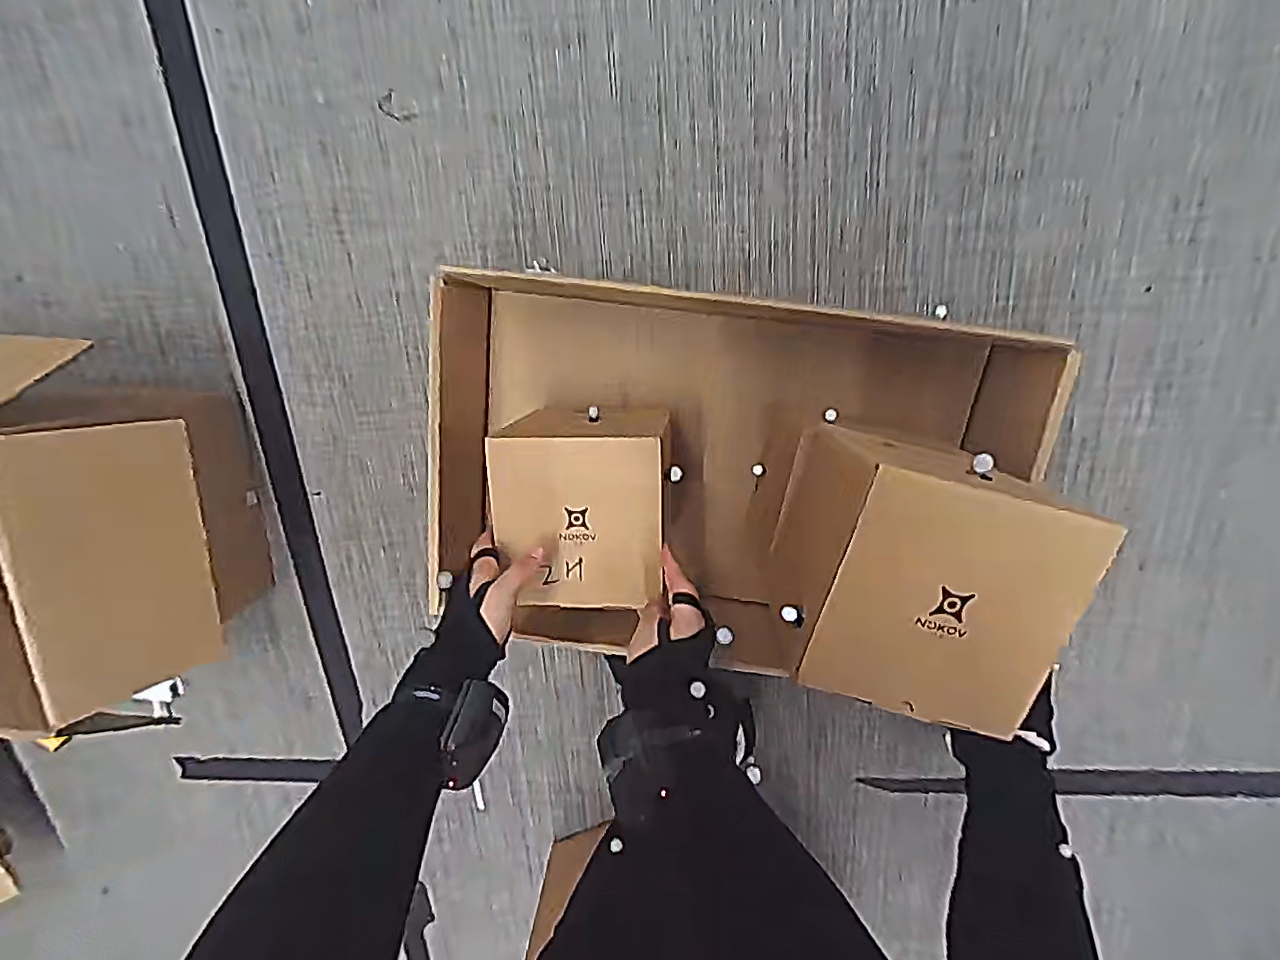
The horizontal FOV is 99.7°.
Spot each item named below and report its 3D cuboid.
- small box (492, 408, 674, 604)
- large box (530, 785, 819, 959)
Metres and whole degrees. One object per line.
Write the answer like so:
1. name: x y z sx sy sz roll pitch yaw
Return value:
1. small box: -0.049 0.017 0.589 0.168 0.176 0.179 0 107 6
2. large box: 0.073 0.762 0.803 0.320 0.320 0.408 -29 103 12
